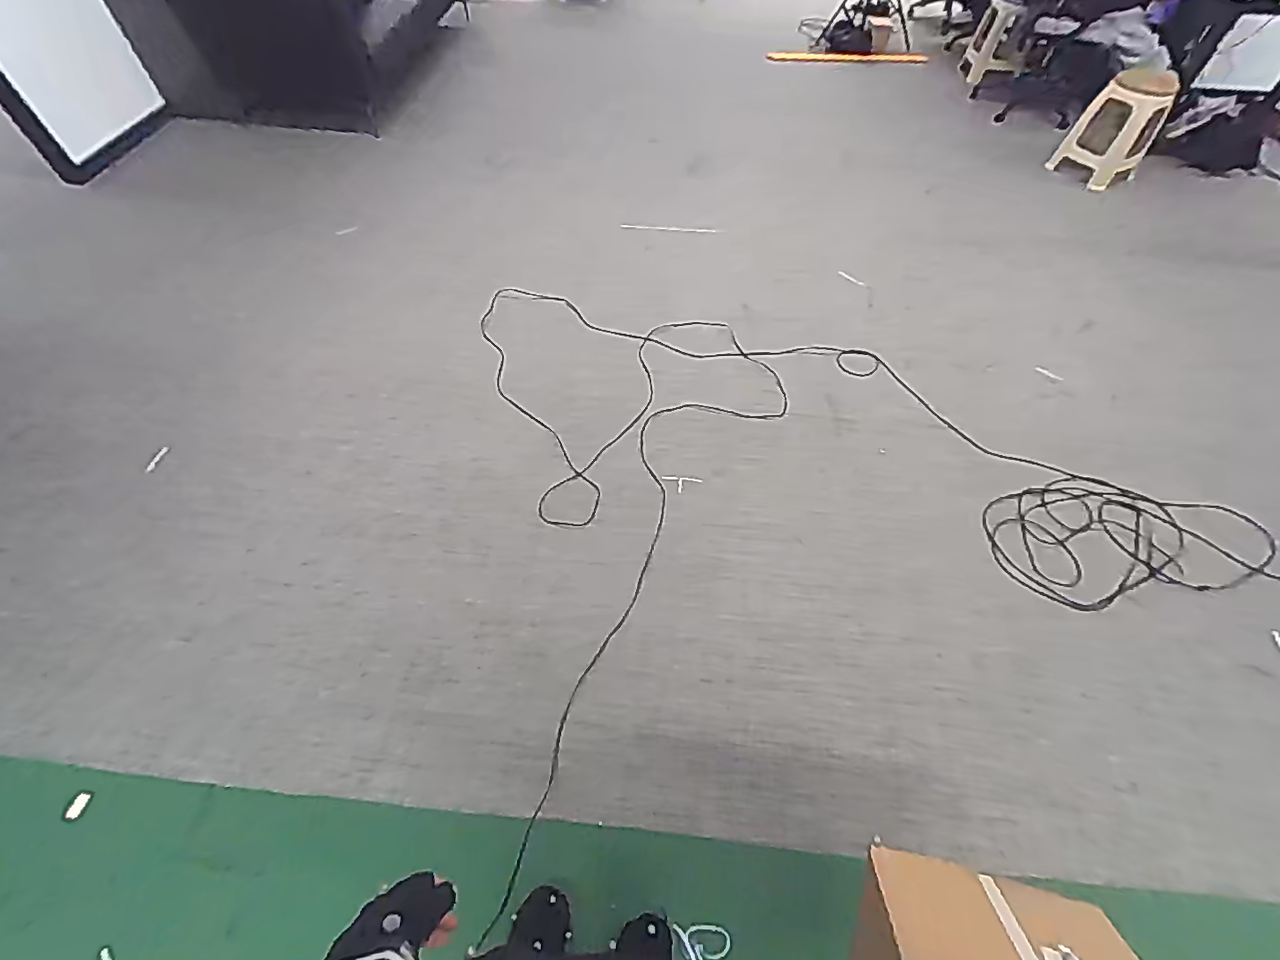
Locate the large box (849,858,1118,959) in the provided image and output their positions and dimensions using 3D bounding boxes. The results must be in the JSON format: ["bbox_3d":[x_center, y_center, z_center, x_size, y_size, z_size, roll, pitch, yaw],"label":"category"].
[{"bbox_3d":[0.430,0.752,0.611,0.320,0.408,0.320,10,93,12],"label":"large box"}]
